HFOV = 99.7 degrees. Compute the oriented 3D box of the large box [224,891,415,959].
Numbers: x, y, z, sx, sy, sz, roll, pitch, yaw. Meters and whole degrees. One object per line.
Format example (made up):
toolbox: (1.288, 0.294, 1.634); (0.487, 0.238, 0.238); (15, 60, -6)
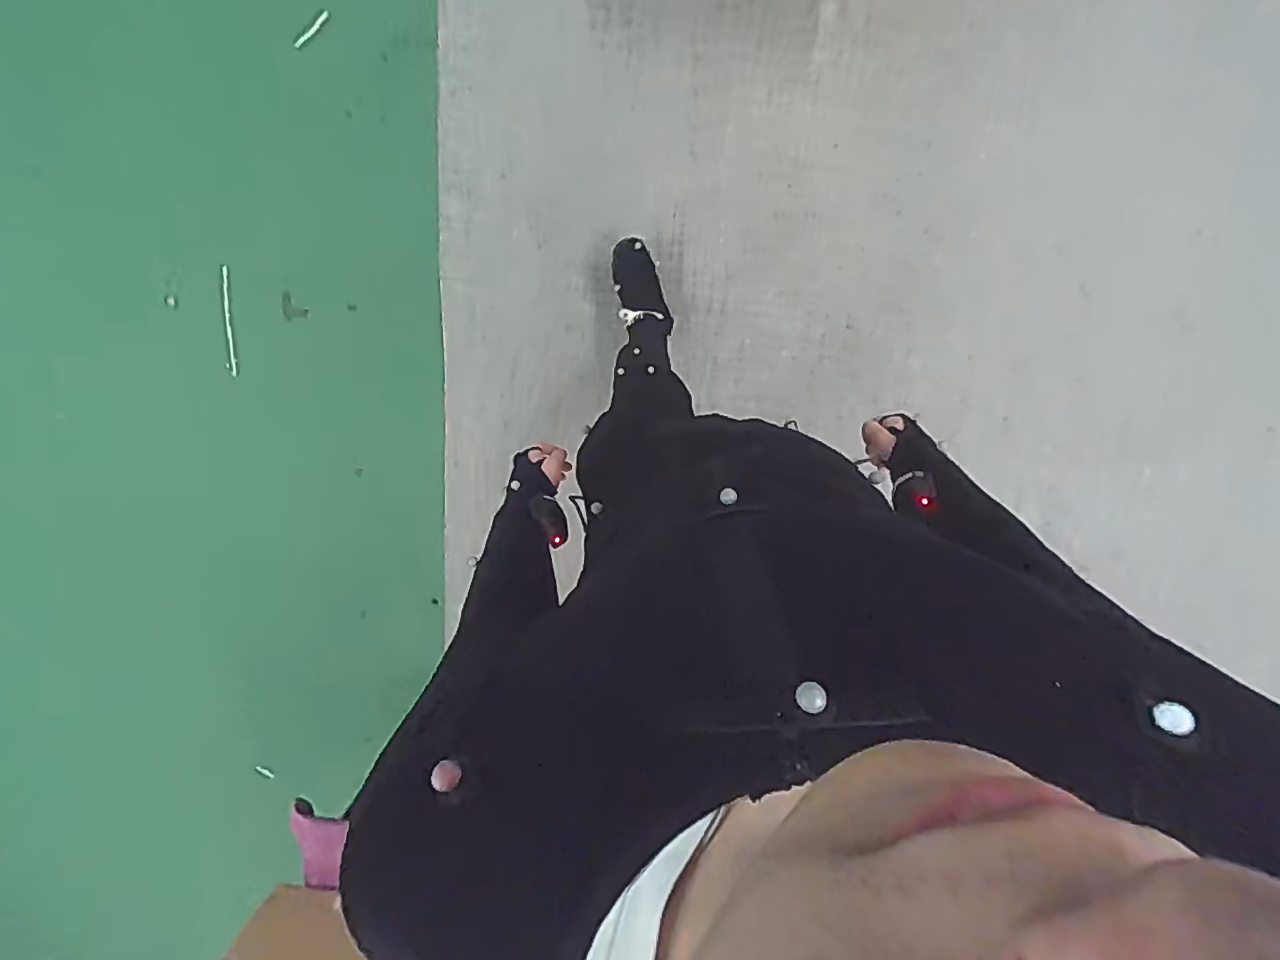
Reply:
large box: (-0.640, 1.097, 1.026); (0.320, 0.320, 0.408); (5, 103, 1)
